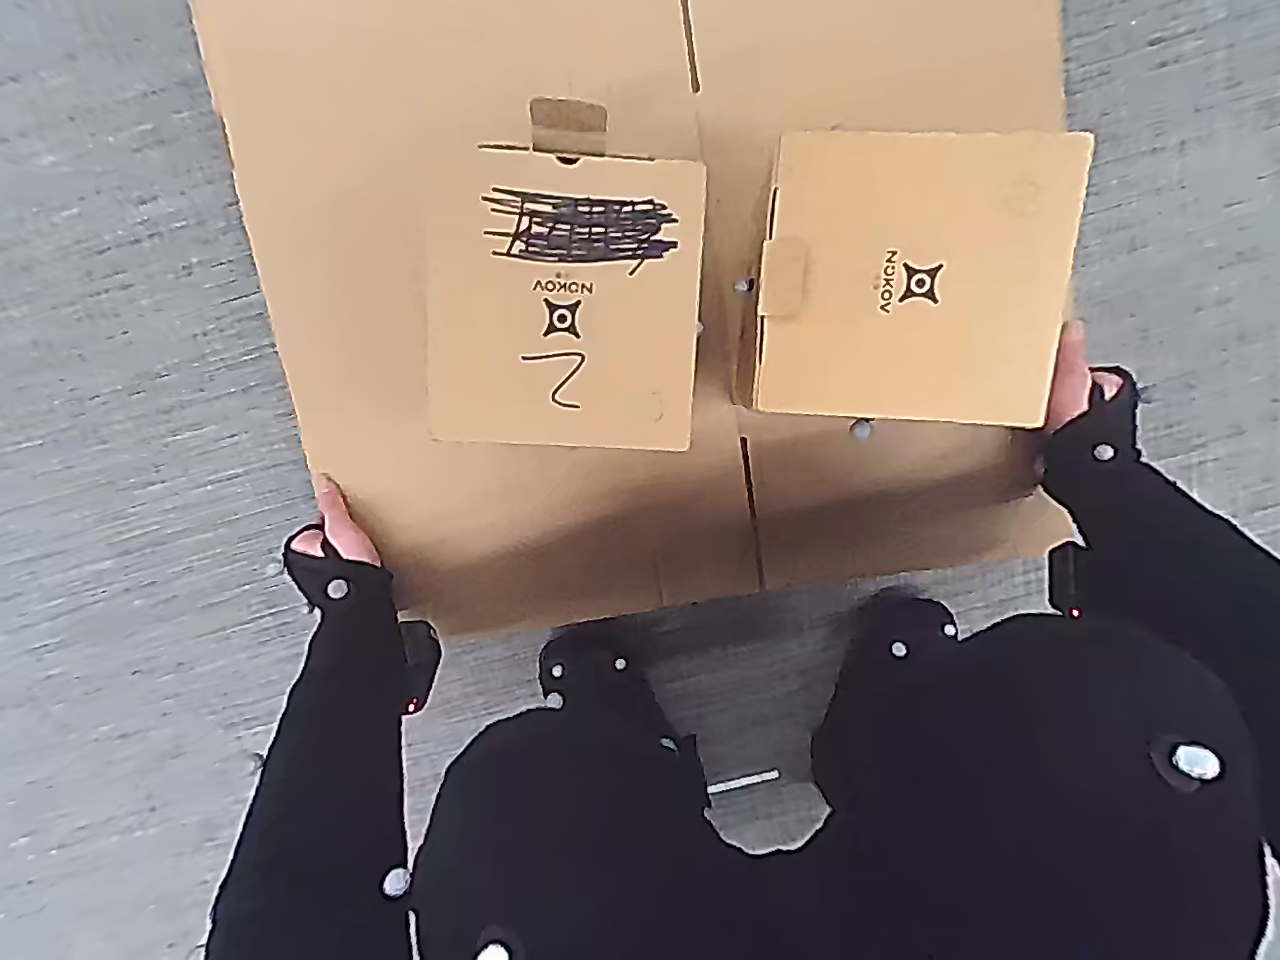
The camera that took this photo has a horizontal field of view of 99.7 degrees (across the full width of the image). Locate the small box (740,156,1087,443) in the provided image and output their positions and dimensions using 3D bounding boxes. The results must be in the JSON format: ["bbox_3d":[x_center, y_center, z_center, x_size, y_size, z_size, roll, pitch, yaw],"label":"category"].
[{"bbox_3d":[0.175,-0.124,0.410,0.179,0.176,0.168,4,101,7],"label":"small box"}]
